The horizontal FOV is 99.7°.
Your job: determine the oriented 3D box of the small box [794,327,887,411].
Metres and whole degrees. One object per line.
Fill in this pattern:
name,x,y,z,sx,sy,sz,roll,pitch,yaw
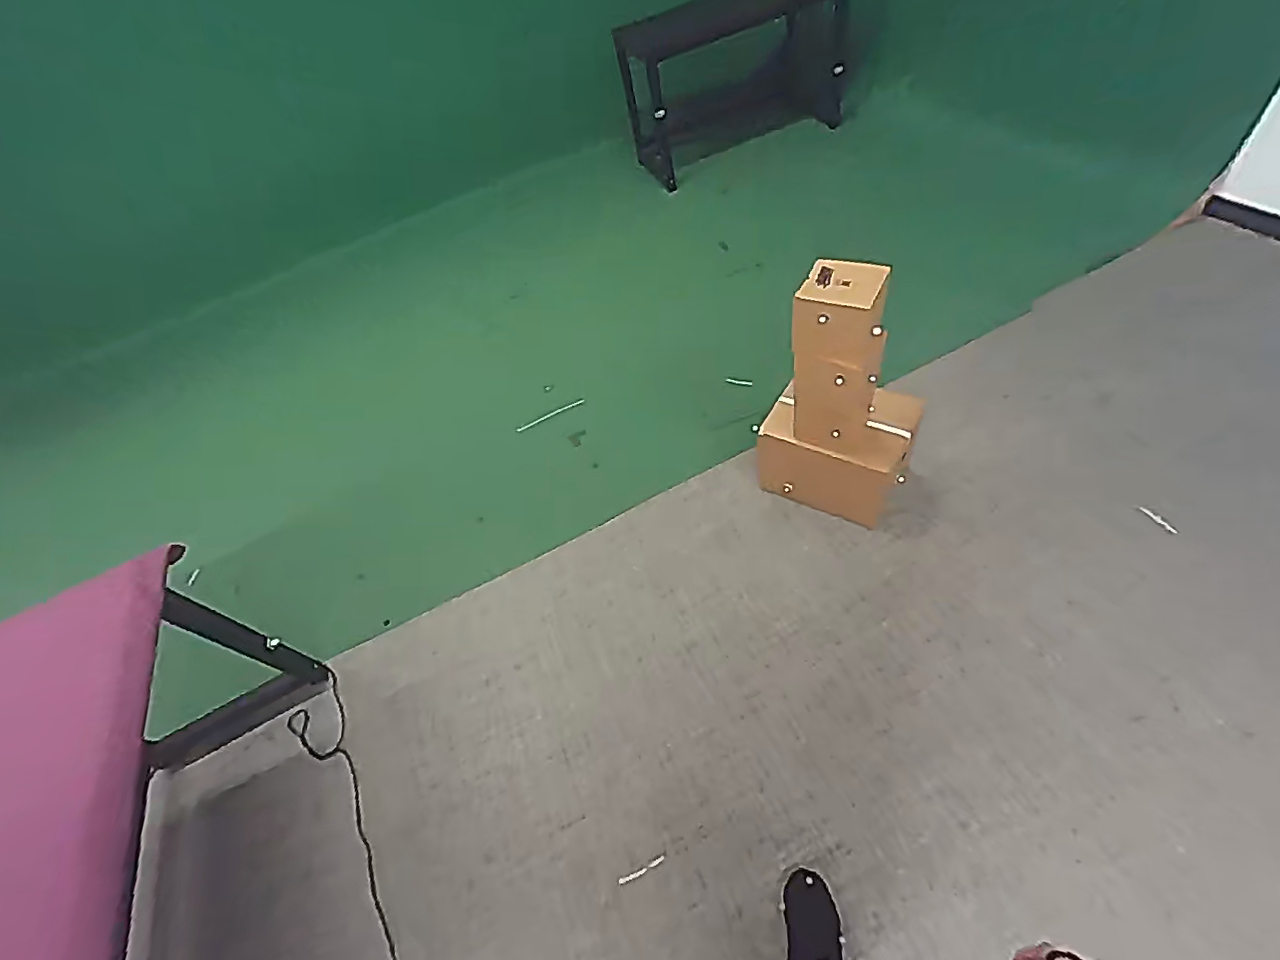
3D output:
small box,0.525,-0.307,1.434,0.179,0.176,0.168,25,63,29

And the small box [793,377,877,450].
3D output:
small box,0.558,-0.211,1.563,0.179,0.176,0.168,23,62,28

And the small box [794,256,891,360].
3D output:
small box,0.484,-0.416,1.316,0.179,0.176,0.168,20,61,25
